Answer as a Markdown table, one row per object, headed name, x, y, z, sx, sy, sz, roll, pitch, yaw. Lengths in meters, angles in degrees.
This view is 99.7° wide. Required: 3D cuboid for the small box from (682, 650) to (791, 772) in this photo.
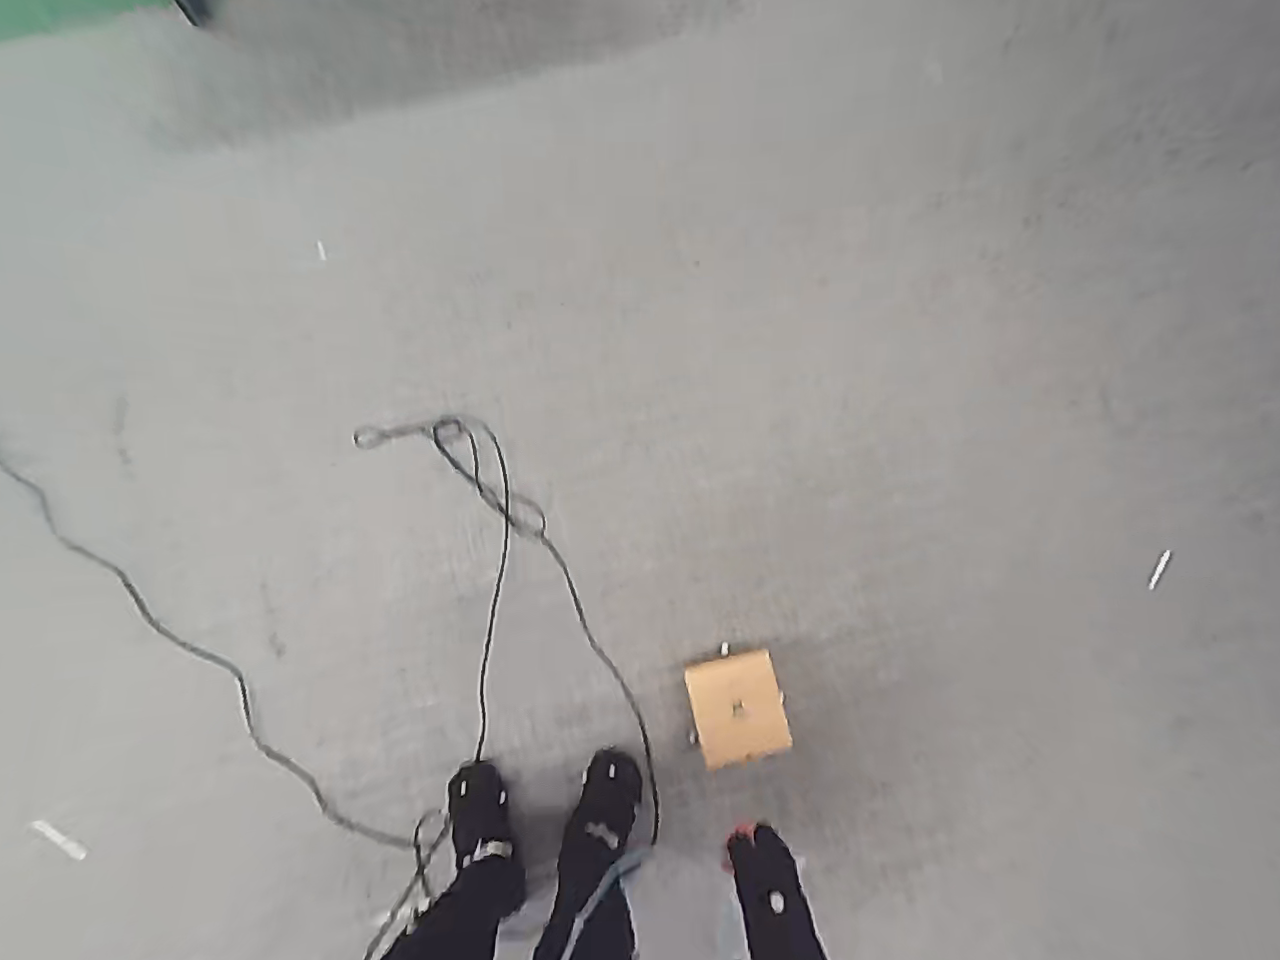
| name | x | y | z | sx | sy | sz | roll | pitch | yaw |
| --- | --- | --- | --- | --- | --- | --- | --- | --- | --- |
| small box | 0.183 | 0.449 | 1.077 | 0.168 | 0.176 | 0.179 | -12 | 77 | -2 |
